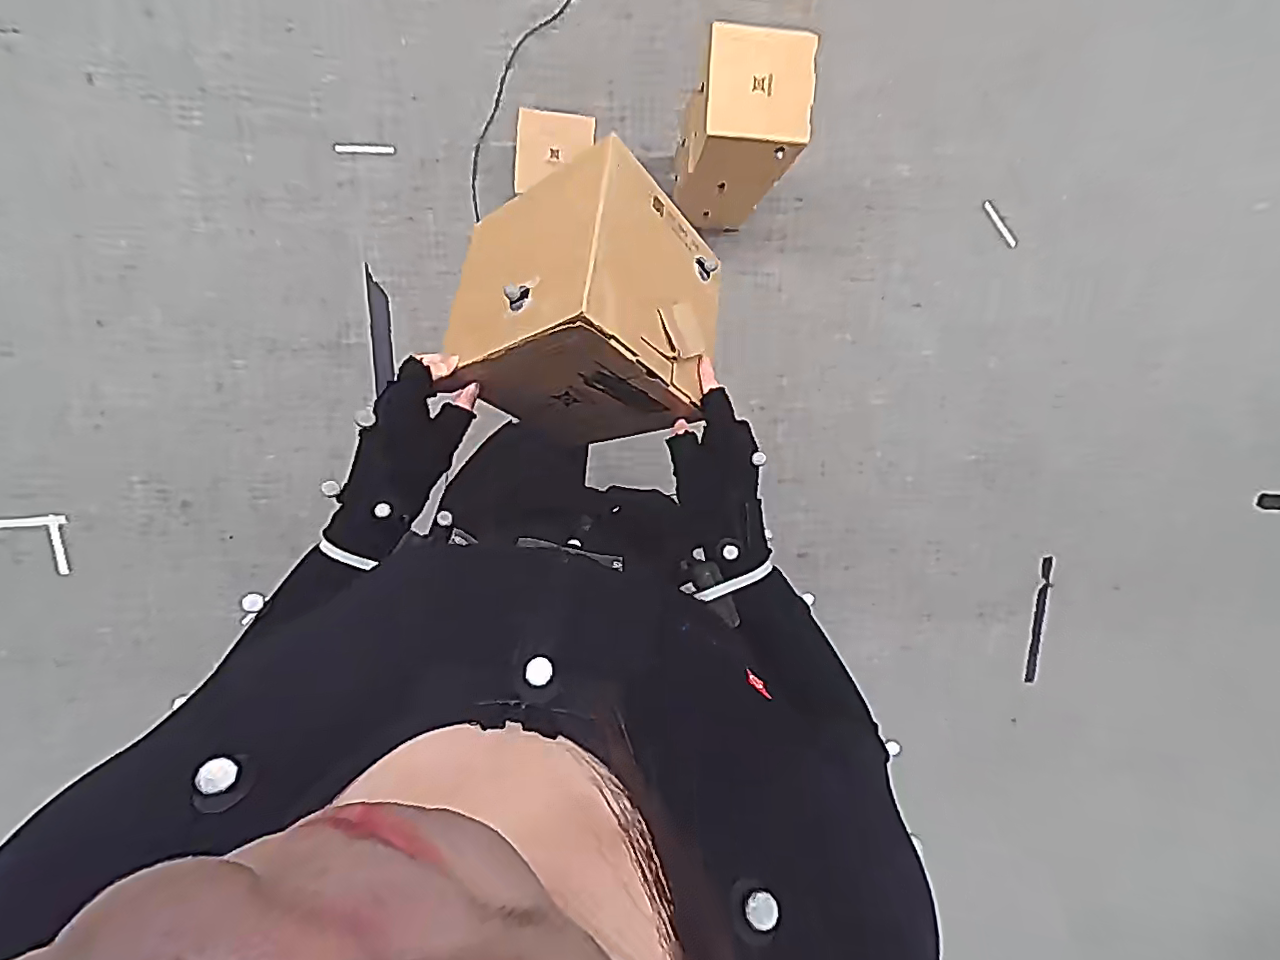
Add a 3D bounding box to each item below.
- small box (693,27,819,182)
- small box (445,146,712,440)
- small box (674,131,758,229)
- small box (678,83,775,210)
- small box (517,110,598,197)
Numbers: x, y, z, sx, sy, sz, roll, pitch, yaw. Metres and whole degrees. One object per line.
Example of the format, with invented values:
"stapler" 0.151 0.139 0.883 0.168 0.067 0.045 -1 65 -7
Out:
"small box" 0.193 -0.646 0.952 0.179 0.176 0.168 2 99 -5
"small box" -0.046 -0.154 0.494 0.179 0.168 0.176 -8 66 38
"small box" 0.177 -0.704 1.275 0.179 0.176 0.168 2 100 -4
"small box" 0.179 -0.674 1.112 0.179 0.176 0.168 4 100 -5
"small box" -0.185 -0.711 1.250 0.168 0.176 0.179 5 99 -5
